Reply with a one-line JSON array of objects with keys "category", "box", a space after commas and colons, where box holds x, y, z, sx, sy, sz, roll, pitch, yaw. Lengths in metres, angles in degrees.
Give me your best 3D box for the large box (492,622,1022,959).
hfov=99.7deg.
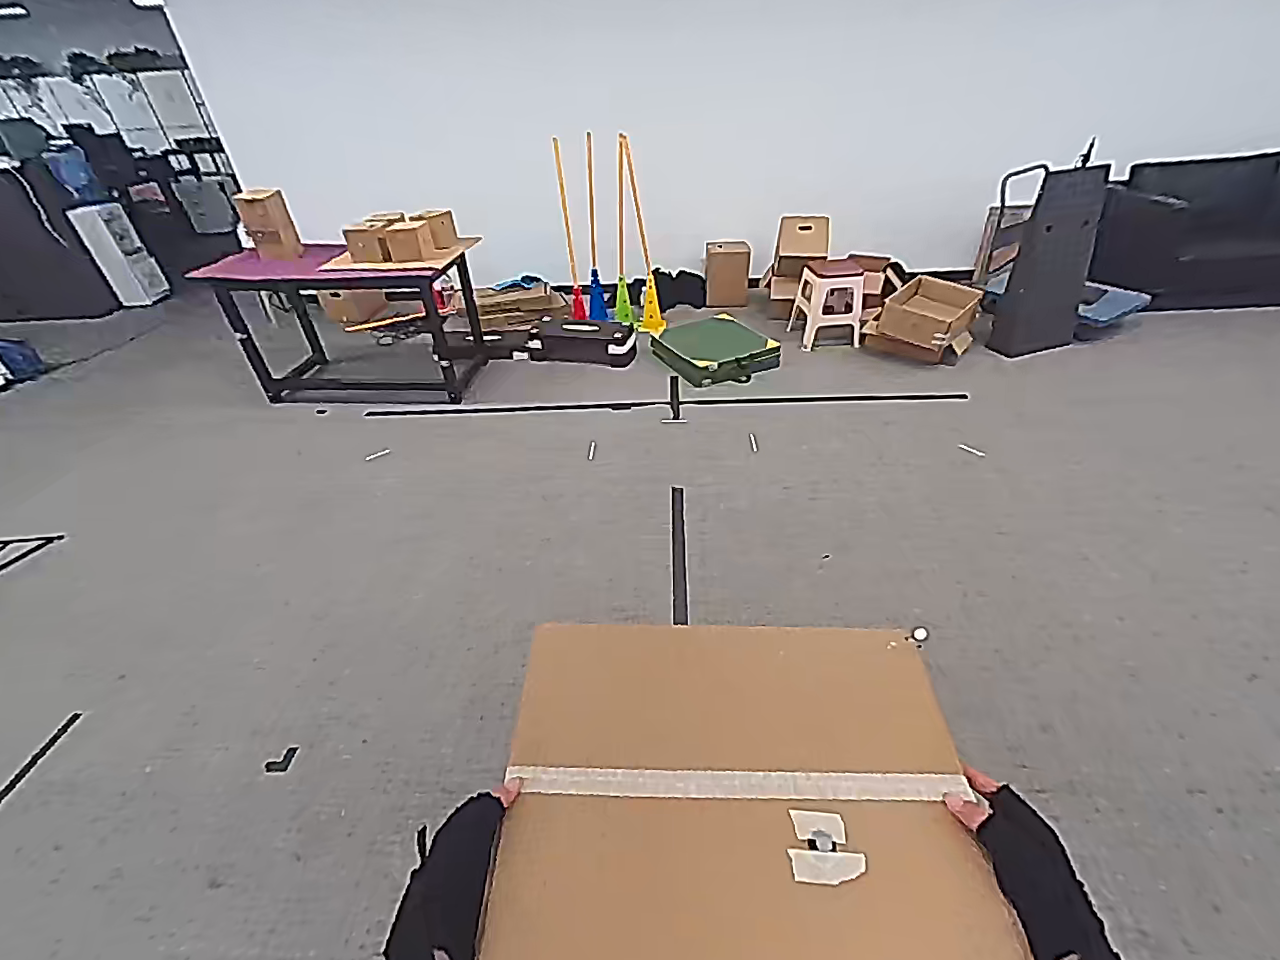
[{"category": "large box", "box": [0.090, 0.373, 0.596, 0.408, 0.320, 0.320, 1, 46, 2]}]
